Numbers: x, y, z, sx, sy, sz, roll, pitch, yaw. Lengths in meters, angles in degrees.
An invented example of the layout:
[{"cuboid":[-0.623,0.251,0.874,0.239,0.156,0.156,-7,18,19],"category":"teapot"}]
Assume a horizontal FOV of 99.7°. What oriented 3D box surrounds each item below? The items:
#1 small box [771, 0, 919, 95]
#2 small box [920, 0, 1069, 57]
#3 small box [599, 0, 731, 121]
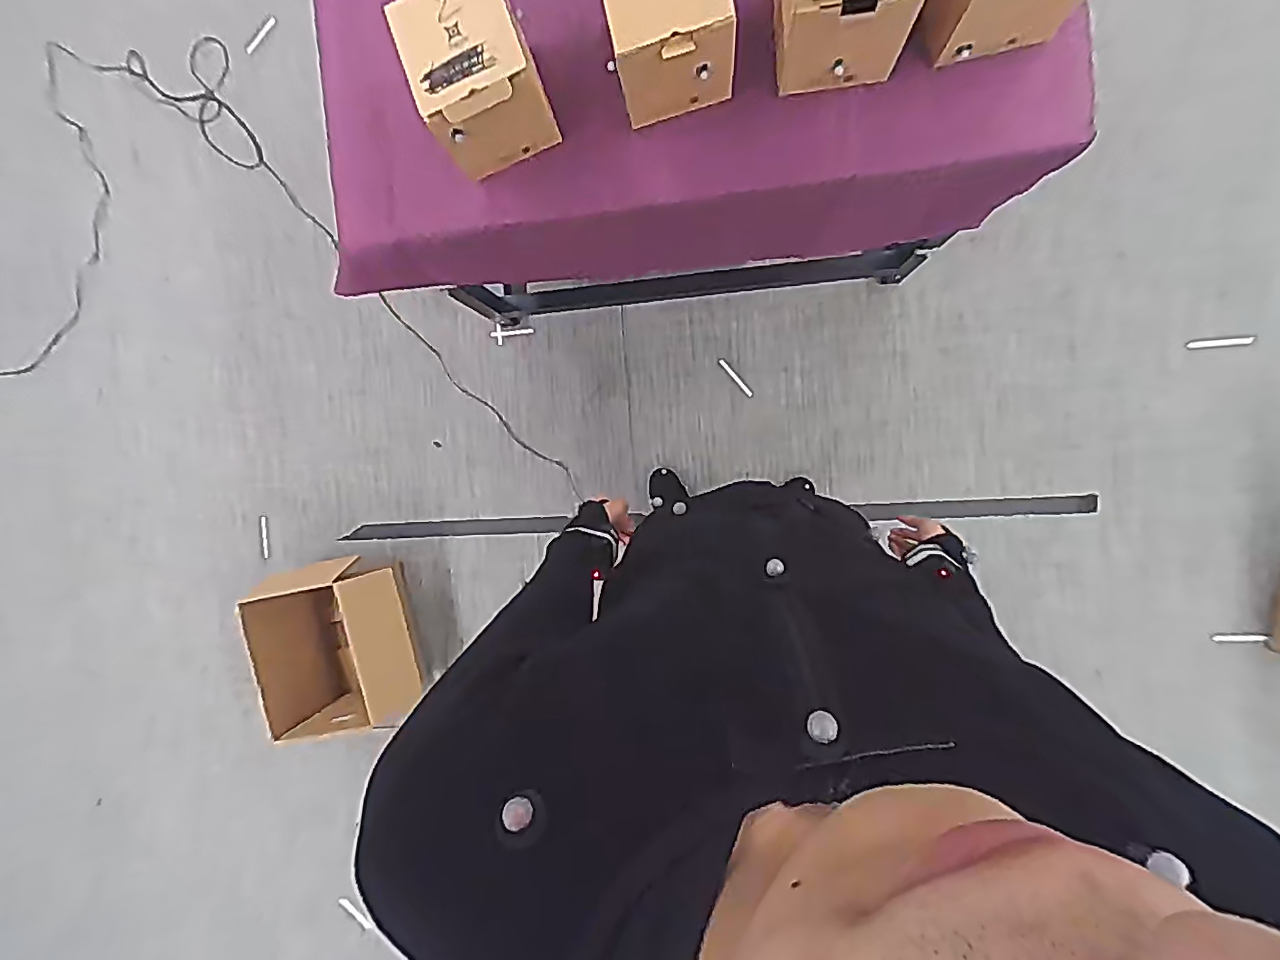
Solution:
[{"cuboid":[0.277,-0.689,0.757,0.168,0.176,0.179,-3,93,8],"category":"small box"},{"cuboid":[0.494,-0.718,0.729,0.168,0.176,0.179,-9,91,8],"category":"small box"},{"cuboid":[0.034,-0.666,0.790,0.168,0.176,0.179,-13,91,7],"category":"small box"}]
